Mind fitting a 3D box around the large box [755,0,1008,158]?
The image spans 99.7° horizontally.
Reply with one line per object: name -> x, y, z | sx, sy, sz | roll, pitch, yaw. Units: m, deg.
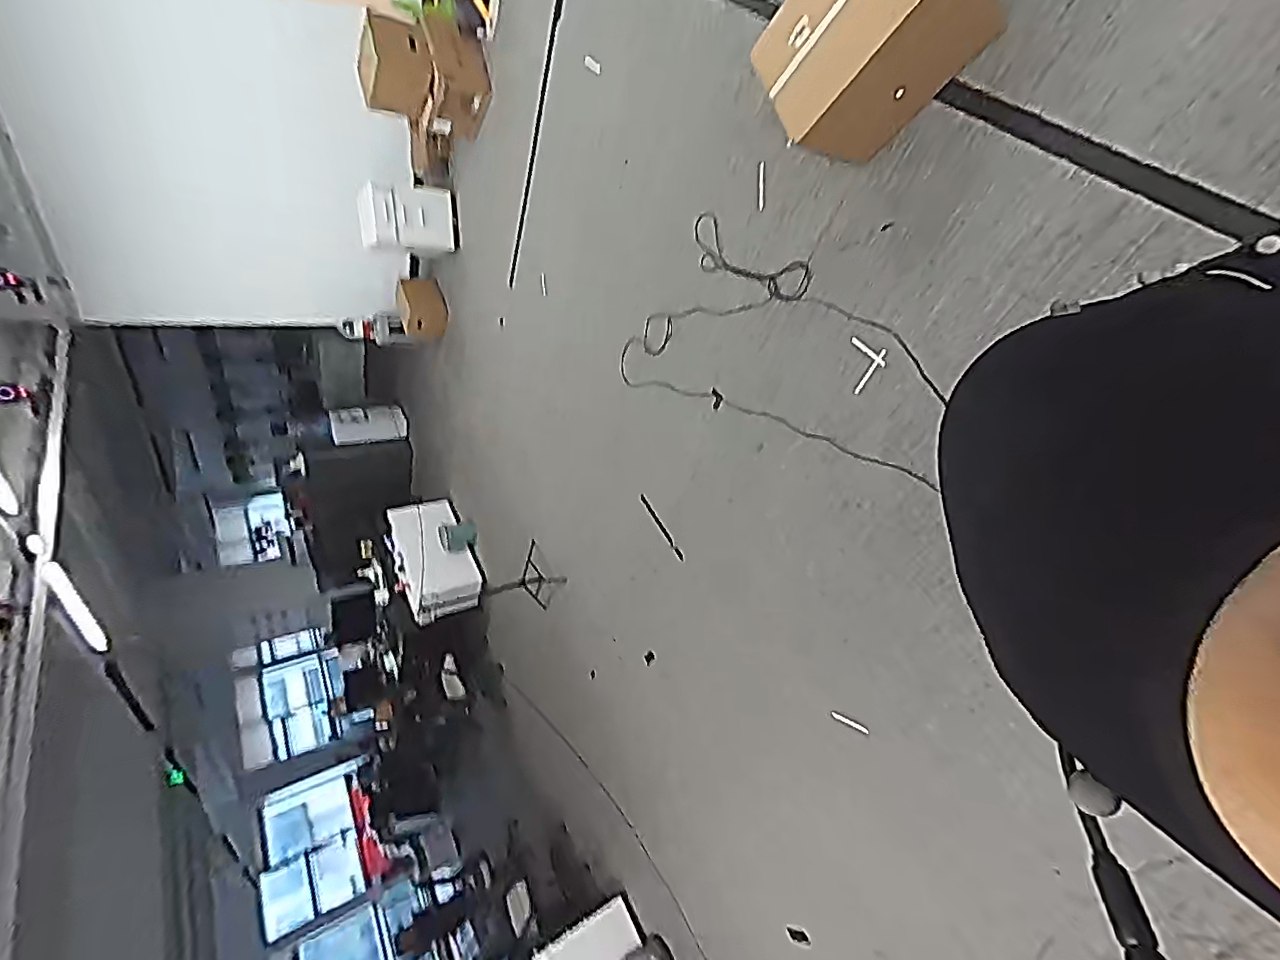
large box -> 0.567, -1.087, 1.316 | 0.408, 0.320, 0.320 | -36, 70, 53
